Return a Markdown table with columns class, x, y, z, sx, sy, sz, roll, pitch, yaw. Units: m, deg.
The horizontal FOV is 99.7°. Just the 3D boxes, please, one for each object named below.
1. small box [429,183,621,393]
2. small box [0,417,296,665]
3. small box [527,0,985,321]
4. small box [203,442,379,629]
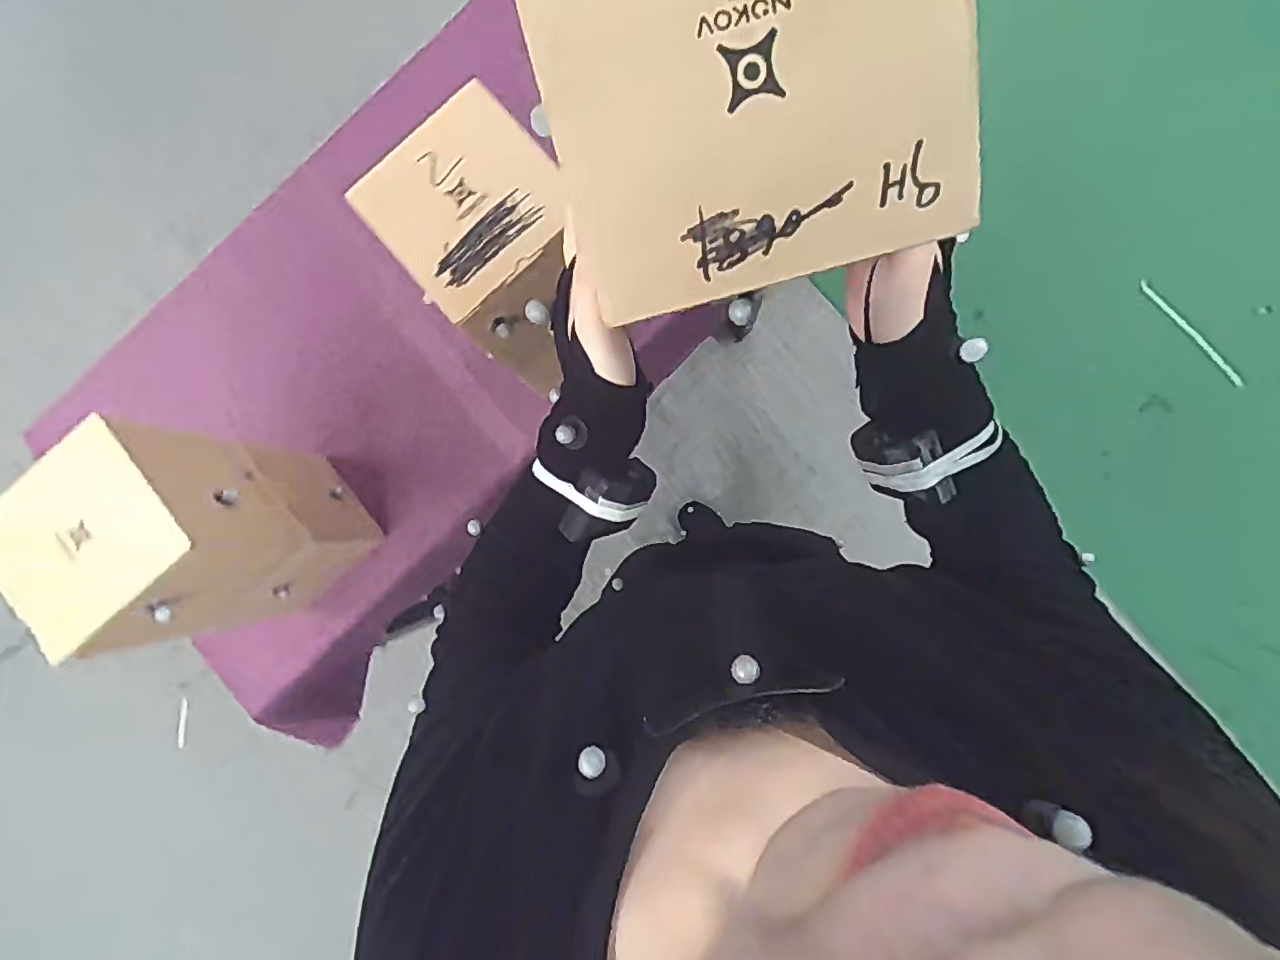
| class | x | y | z | sx | sy | sz | roll | pitch | yaw |
| --- | --- | --- | --- | --- | --- | --- | --- | --- | --- |
| small box | -0.139 | -0.245 | 0.735 | 0.179 | 0.176 | 0.168 | -41 | 84 | 2 |
| small box | -0.515 | 0.059 | 0.580 | 0.179 | 0.176 | 0.168 | -41 | 84 | 2 |
| small box | 0.044 | -0.189 | 0.278 | 0.168 | 0.176 | 0.179 | -12 | 109 | 6 |
| small box | -0.506 | 0.073 | 0.742 | 0.179 | 0.176 | 0.168 | -41 | 85 | 1 |
